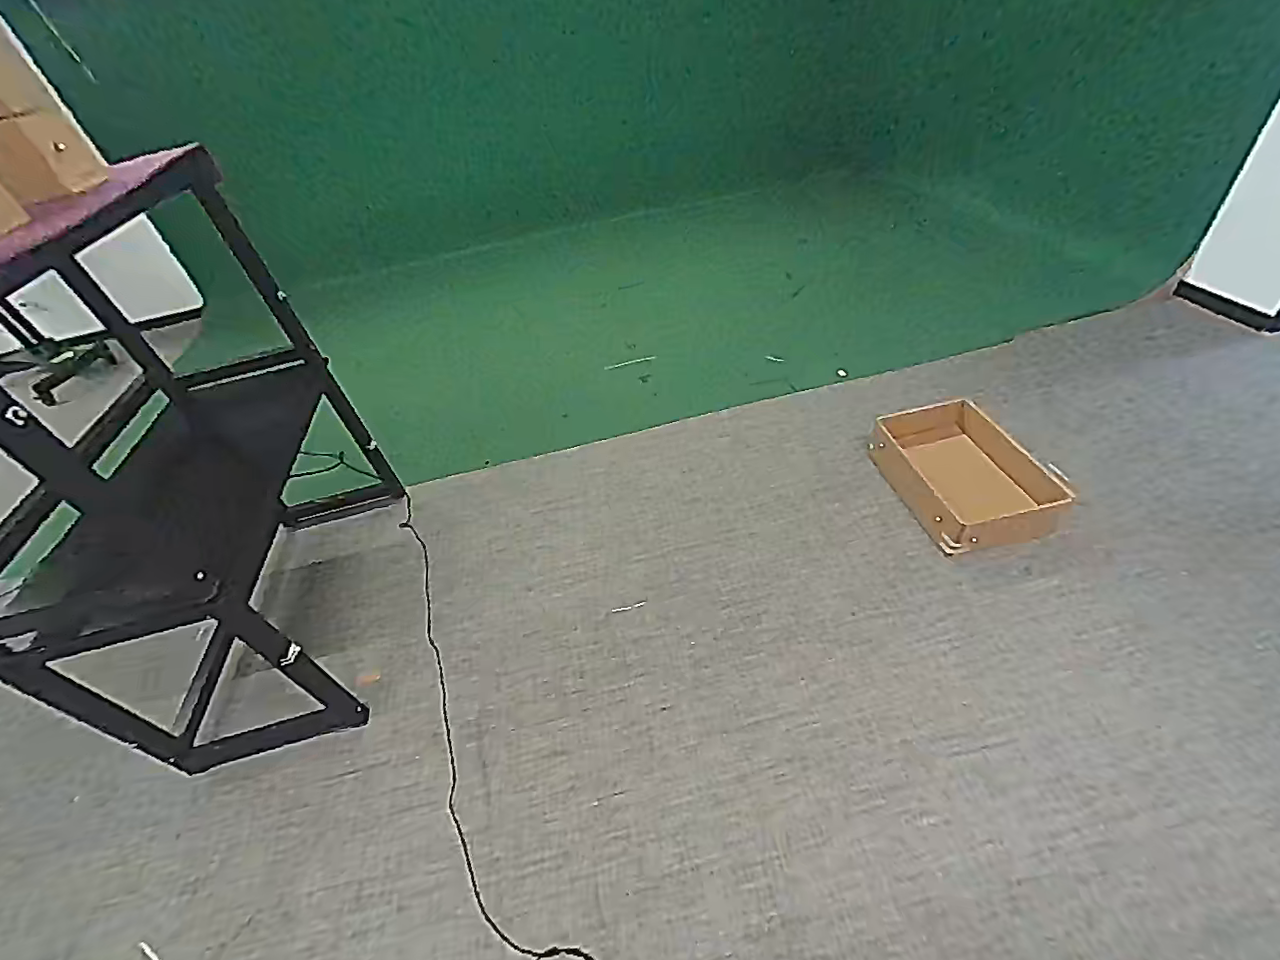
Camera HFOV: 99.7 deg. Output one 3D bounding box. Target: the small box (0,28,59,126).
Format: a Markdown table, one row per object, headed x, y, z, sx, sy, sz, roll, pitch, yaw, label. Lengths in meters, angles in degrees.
| x | y | z | sx | sy | sz | roll | pitch | yaw | label |
| --- | --- | --- | --- | --- | --- | --- | --- | --- | --- |
| -1.496 | -0.895 | 1.216 | 0.168 | 0.176 | 0.179 | -15 | 42 | -3 | small box |

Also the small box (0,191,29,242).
| x | y | z | sx | sy | sz | roll | pitch | yaw | label |
| --- | --- | --- | --- | --- | --- | --- | --- | --- | --- |
| -1.325 | -0.510 | 1.002 | 0.168 | 0.176 | 0.179 | -18 | 43 | -6 | small box |

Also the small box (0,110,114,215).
| x | y | z | sx | sy | sz | roll | pitch | yaw | label |
| --- | --- | --- | --- | --- | --- | --- | --- | --- | --- |
| -1.476 | -0.778 | 1.328 | 0.179 | 0.176 | 0.168 | -14 | 43 | 0 | small box |
